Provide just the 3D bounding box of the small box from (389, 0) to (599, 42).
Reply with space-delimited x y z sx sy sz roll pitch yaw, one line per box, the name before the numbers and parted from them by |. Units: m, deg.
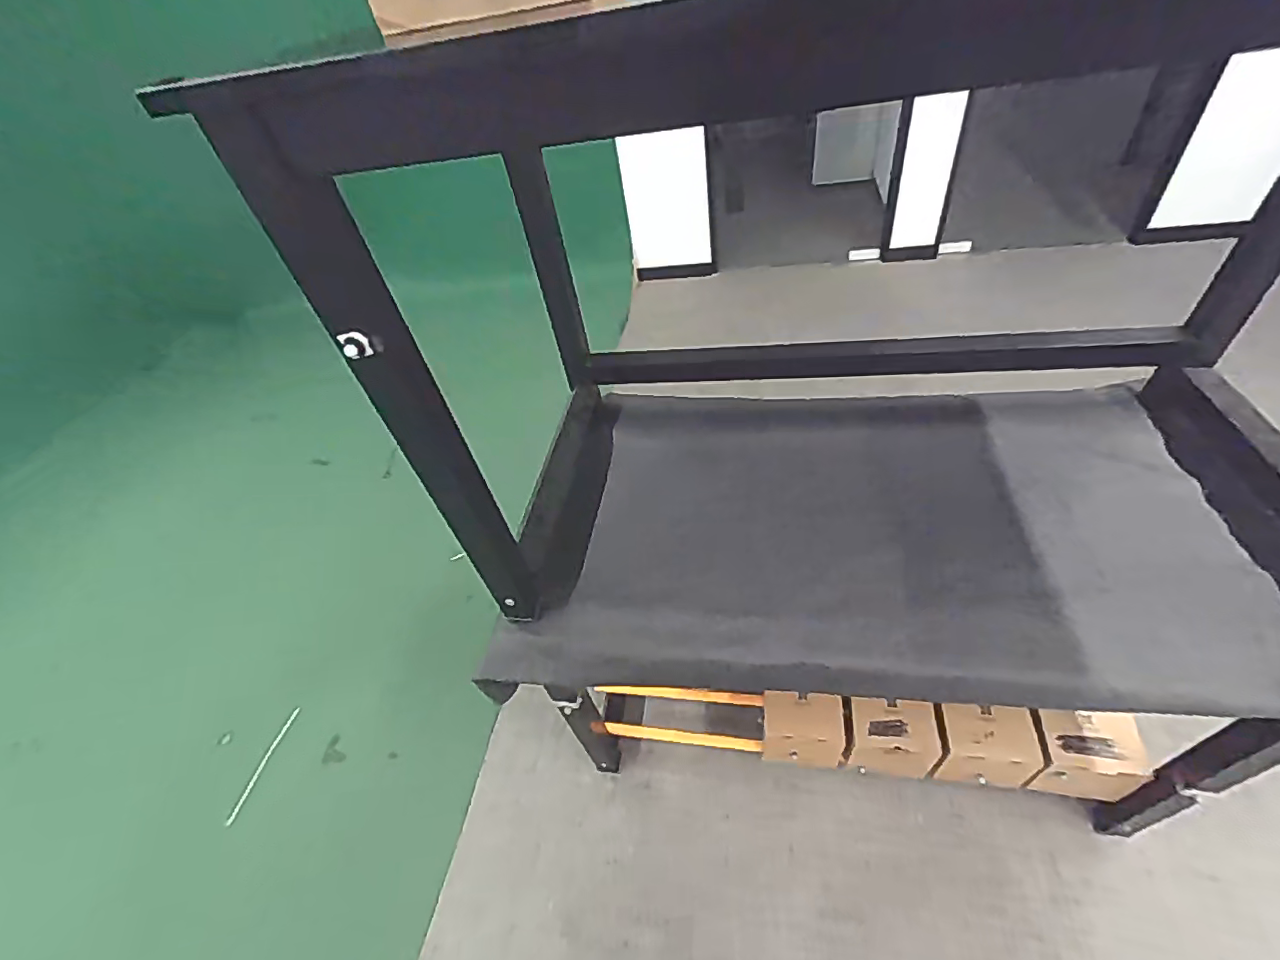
small box | -0.115 -0.454 0.406 0.168 0.176 0.179 -3 45 10
